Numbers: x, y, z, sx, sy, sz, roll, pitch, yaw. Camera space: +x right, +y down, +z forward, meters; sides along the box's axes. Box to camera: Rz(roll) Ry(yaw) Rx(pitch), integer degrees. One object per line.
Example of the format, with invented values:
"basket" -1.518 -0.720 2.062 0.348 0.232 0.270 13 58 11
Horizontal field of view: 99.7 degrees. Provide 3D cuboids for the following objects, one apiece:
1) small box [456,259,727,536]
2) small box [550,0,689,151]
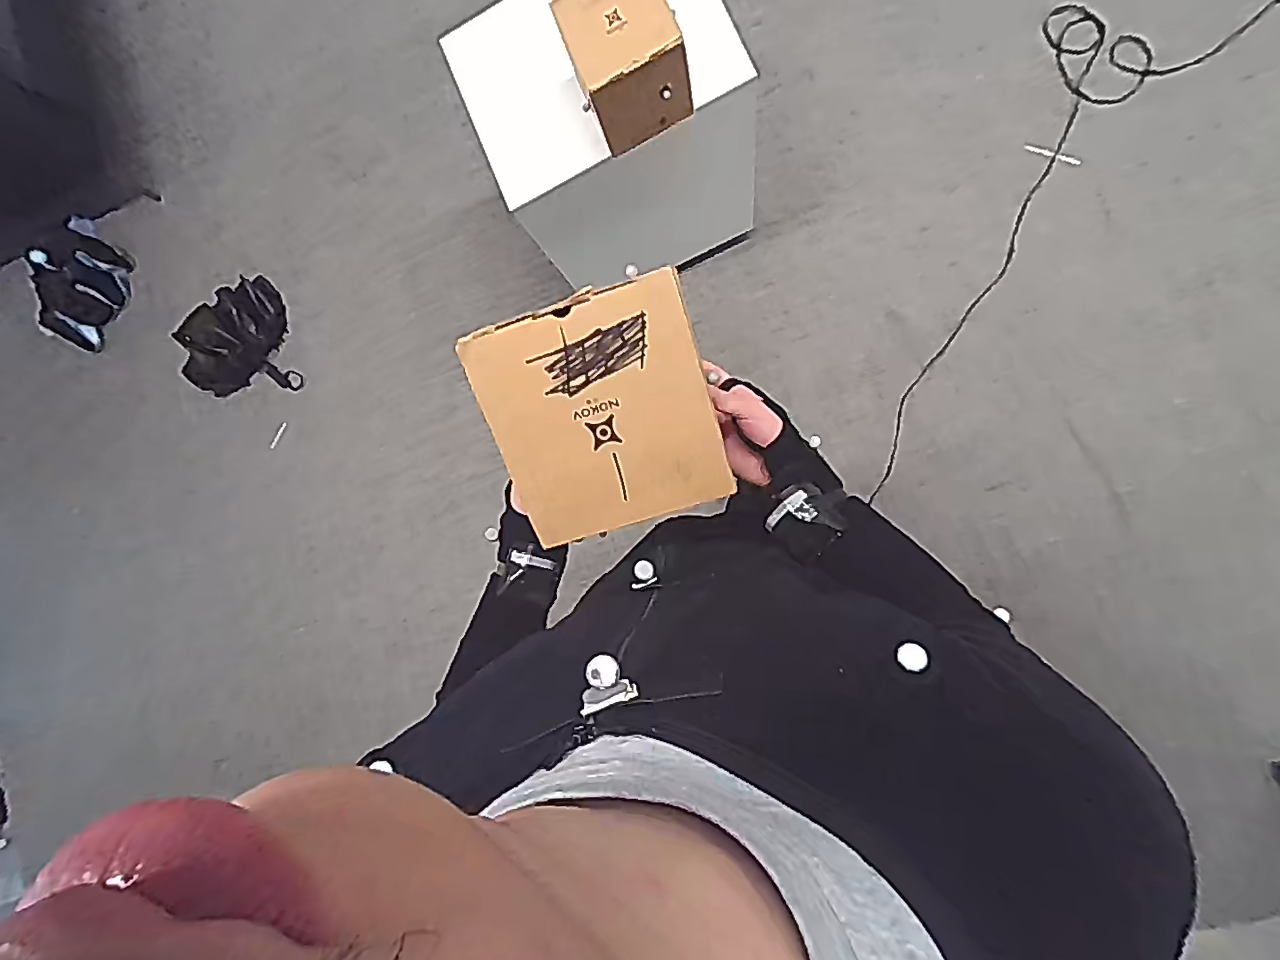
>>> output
"small box" -0.033 -0.079 0.482 0.168 0.176 0.179 -16 109 7
"small box" -0.026 -0.705 0.923 0.168 0.176 0.179 -24 82 7
